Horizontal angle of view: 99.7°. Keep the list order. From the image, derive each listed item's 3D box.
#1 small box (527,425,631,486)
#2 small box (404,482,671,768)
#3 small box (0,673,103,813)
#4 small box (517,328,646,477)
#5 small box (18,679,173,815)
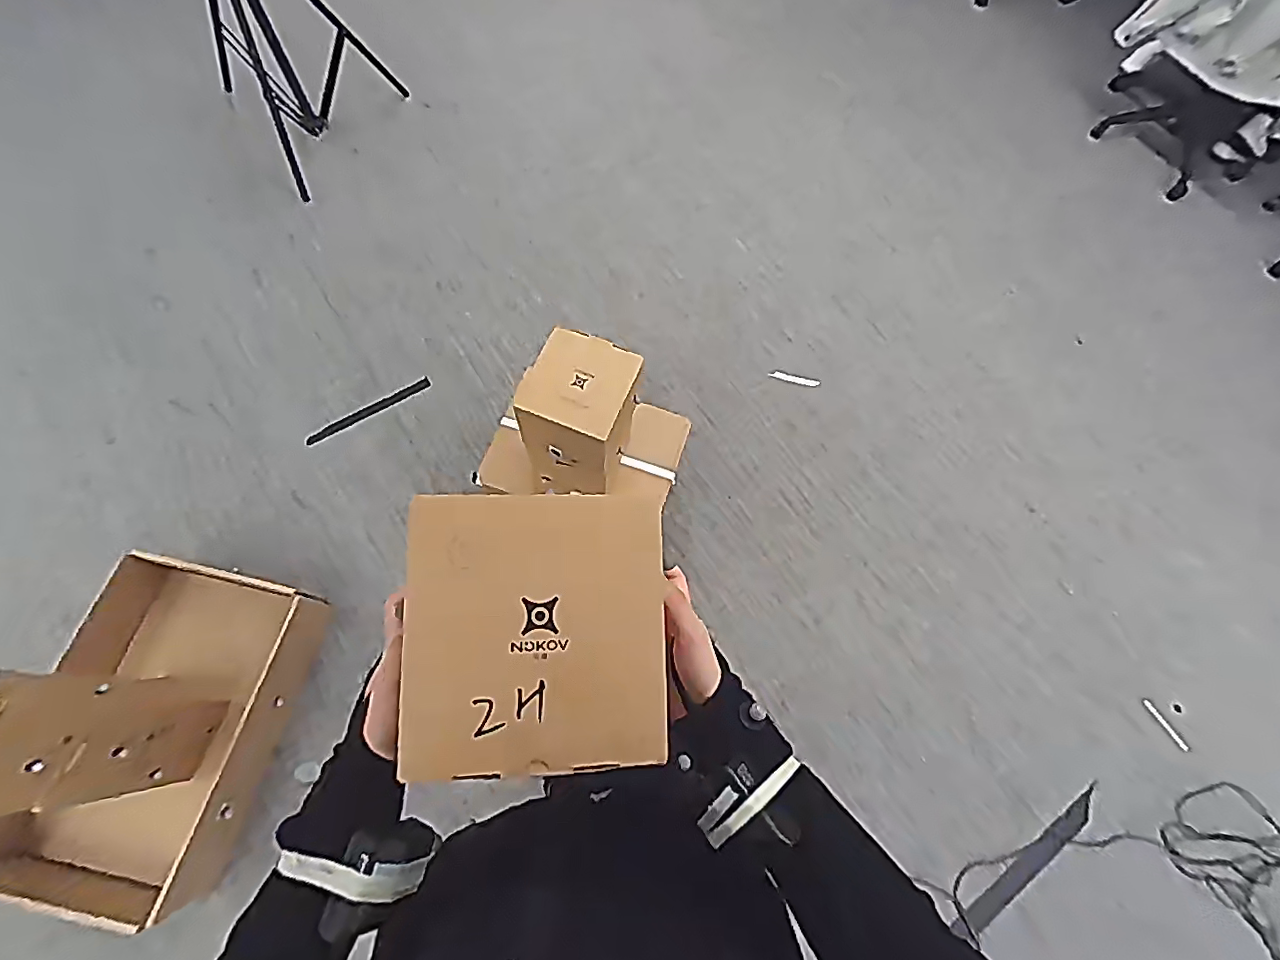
[{"bbox_3d":[-0.117,-0.079,1.122,0.168,0.176,0.179,19,68,1],"label":"small box"},{"bbox_3d":[-0.074,0.103,0.427,0.168,0.176,0.179,0,80,-9],"label":"small box"},{"bbox_3d":[-0.982,0.385,0.795,0.179,0.176,0.168,17,68,2],"label":"small box"},{"bbox_3d":[-0.102,-0.131,0.969,0.168,0.176,0.179,21,69,3],"label":"small box"},{"bbox_3d":[-0.989,0.453,0.944,0.179,0.176,0.168,18,68,2],"label":"small box"}]
